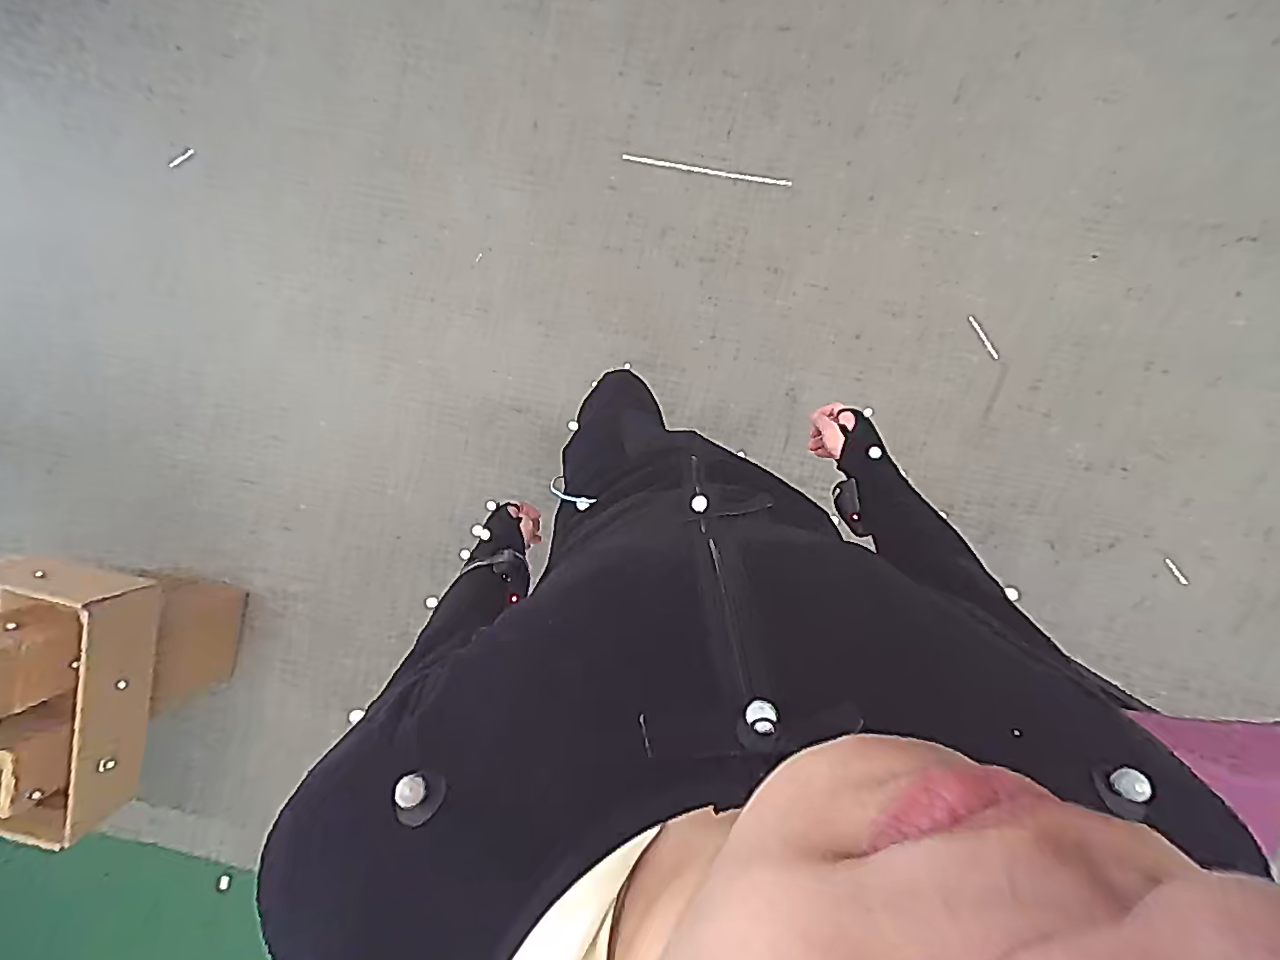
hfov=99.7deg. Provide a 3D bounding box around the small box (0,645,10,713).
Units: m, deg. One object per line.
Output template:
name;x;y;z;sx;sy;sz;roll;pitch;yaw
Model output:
small box;-1.447;0.431;1.089;0.168;0.176;0.179;14;96;1
